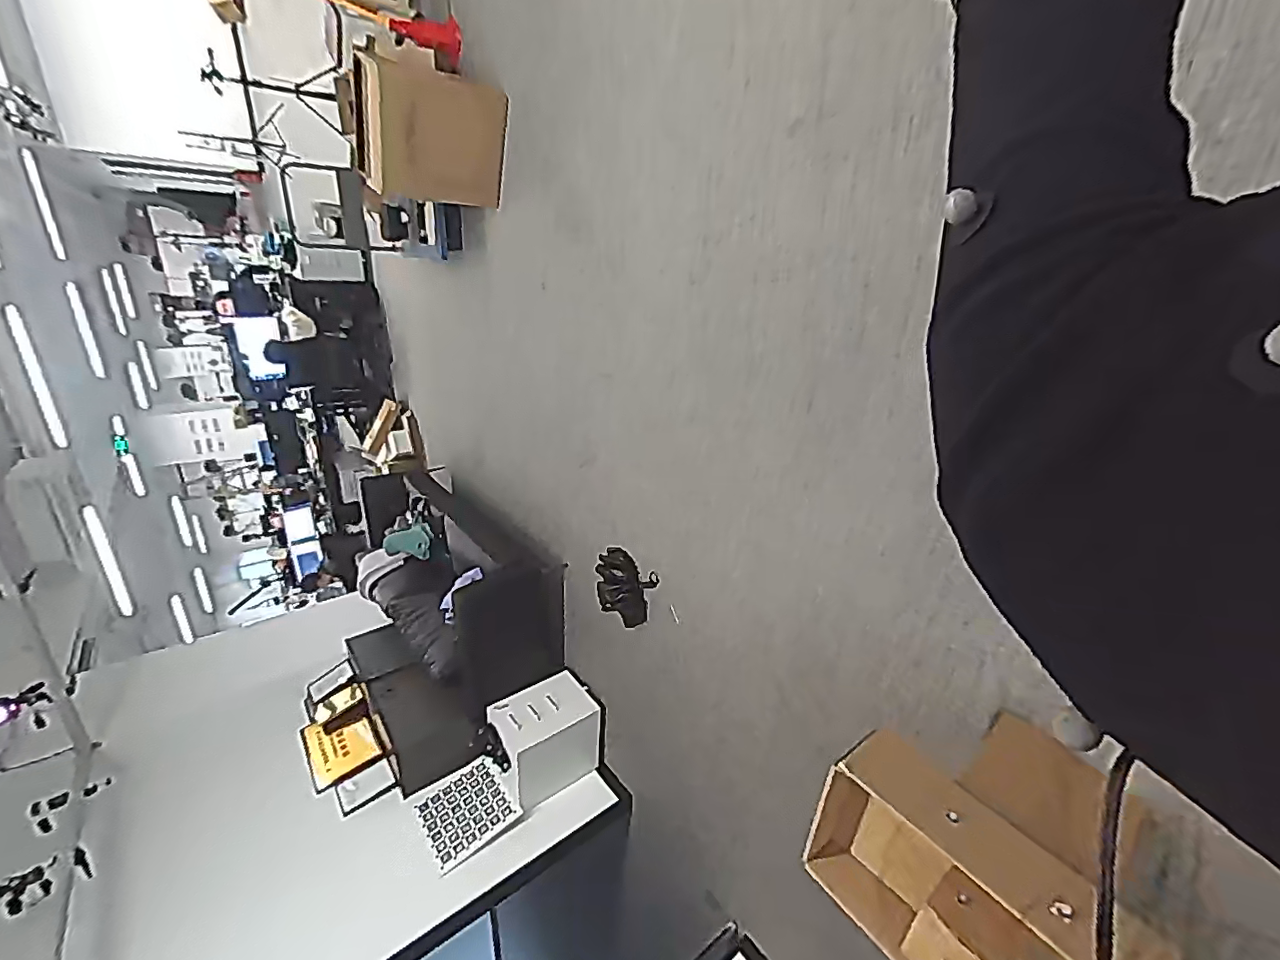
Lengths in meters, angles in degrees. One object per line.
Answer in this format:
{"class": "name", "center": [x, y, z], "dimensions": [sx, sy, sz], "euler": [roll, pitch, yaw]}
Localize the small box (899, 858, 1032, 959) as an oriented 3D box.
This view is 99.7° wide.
{"class": "small box", "center": [0.681, 0.951, 1.131], "dimensions": [0.168, 0.176, 0.179], "euler": [32, 128, 46]}
